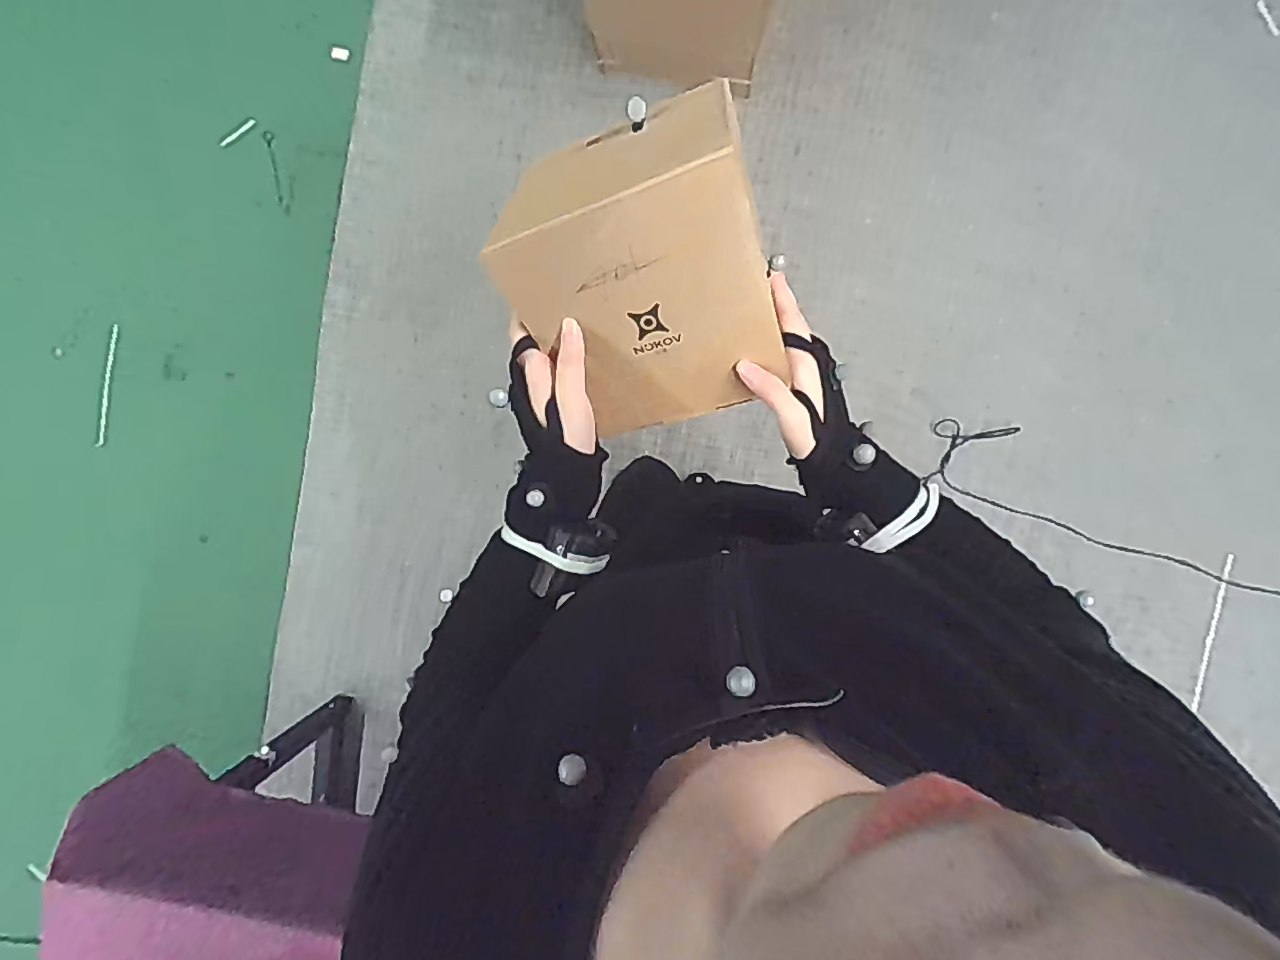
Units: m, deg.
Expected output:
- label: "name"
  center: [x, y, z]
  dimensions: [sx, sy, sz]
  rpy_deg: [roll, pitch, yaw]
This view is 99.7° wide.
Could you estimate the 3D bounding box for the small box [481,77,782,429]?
- label: "small box"
  center: [0.011, -0.171, 0.425]
  dimensions: [0.168, 0.176, 0.179]
  rpy_deg: [-11, 135, 19]
